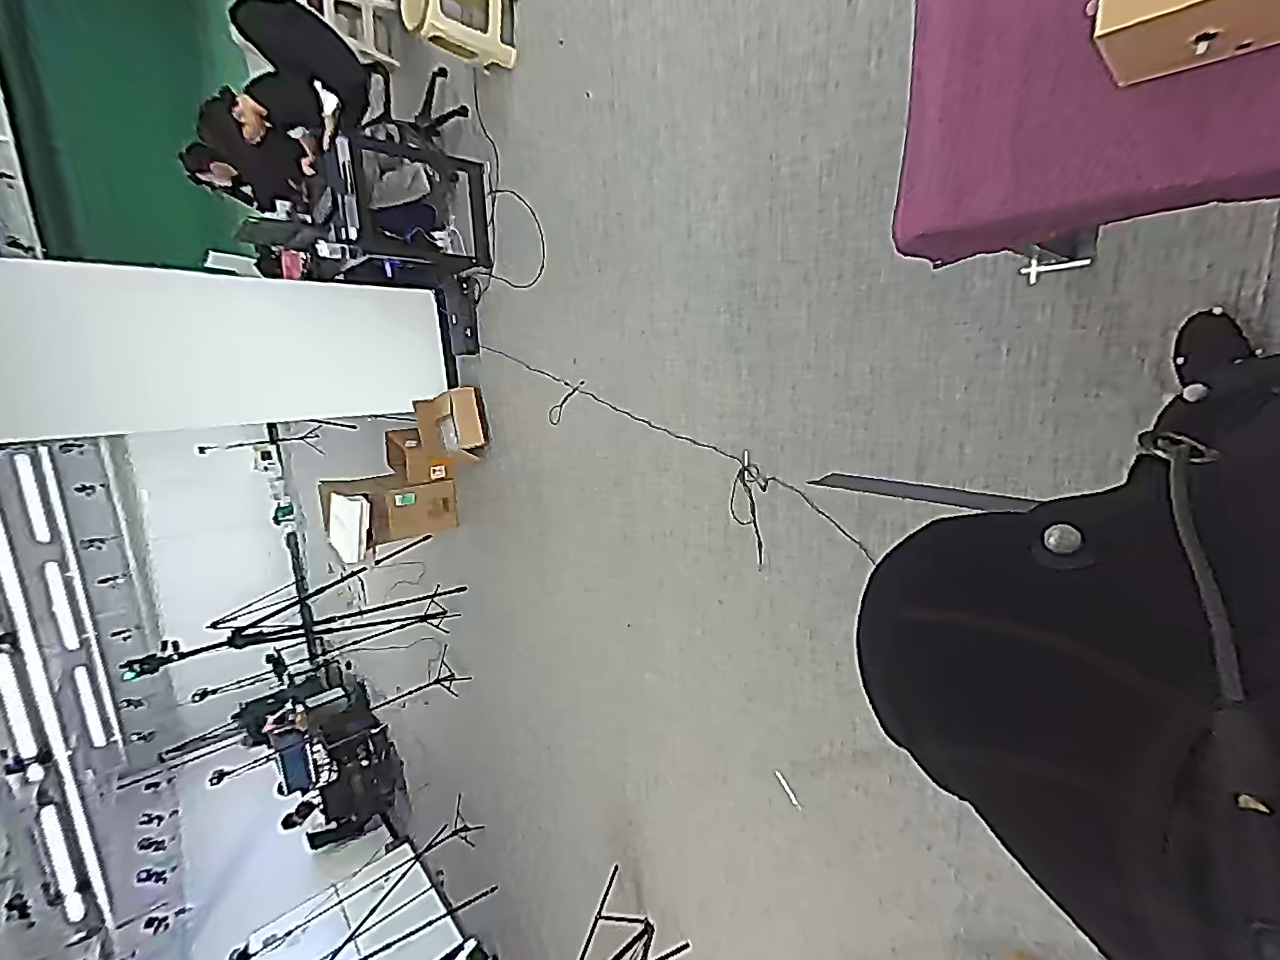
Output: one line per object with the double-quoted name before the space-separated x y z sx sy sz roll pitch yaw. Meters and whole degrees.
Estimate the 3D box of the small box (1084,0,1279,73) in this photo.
"small box" 0.564 -0.531 0.522 0.168 0.176 0.179 14 110 46
